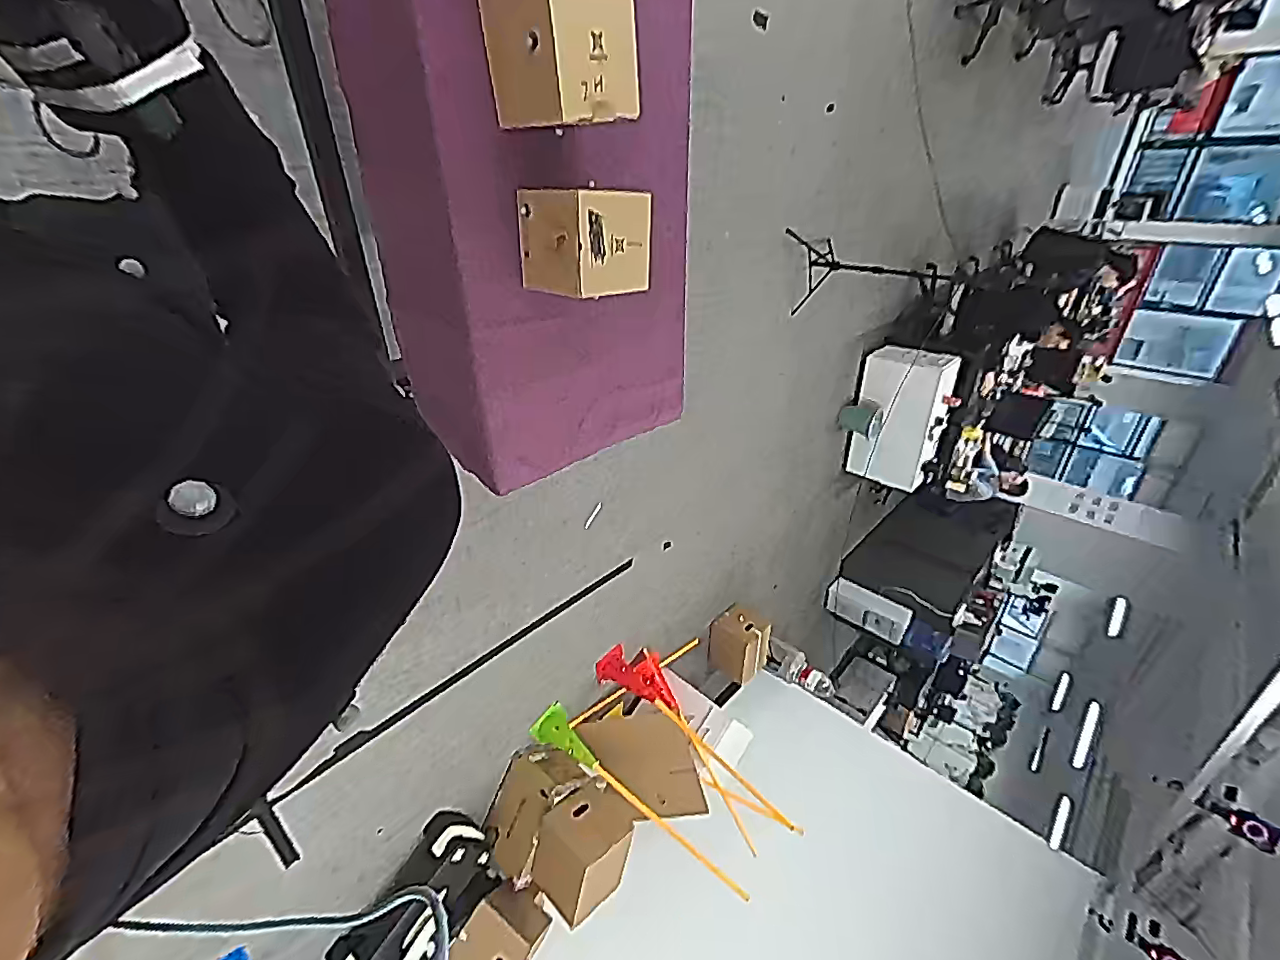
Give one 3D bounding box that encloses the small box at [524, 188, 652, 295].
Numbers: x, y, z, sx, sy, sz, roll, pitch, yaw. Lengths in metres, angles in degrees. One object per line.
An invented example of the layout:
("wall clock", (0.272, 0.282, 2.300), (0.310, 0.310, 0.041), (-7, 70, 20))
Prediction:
("small box", (-0.098, -0.438, 0.988), (0.179, 0.176, 0.168), (-25, 128, -41))
